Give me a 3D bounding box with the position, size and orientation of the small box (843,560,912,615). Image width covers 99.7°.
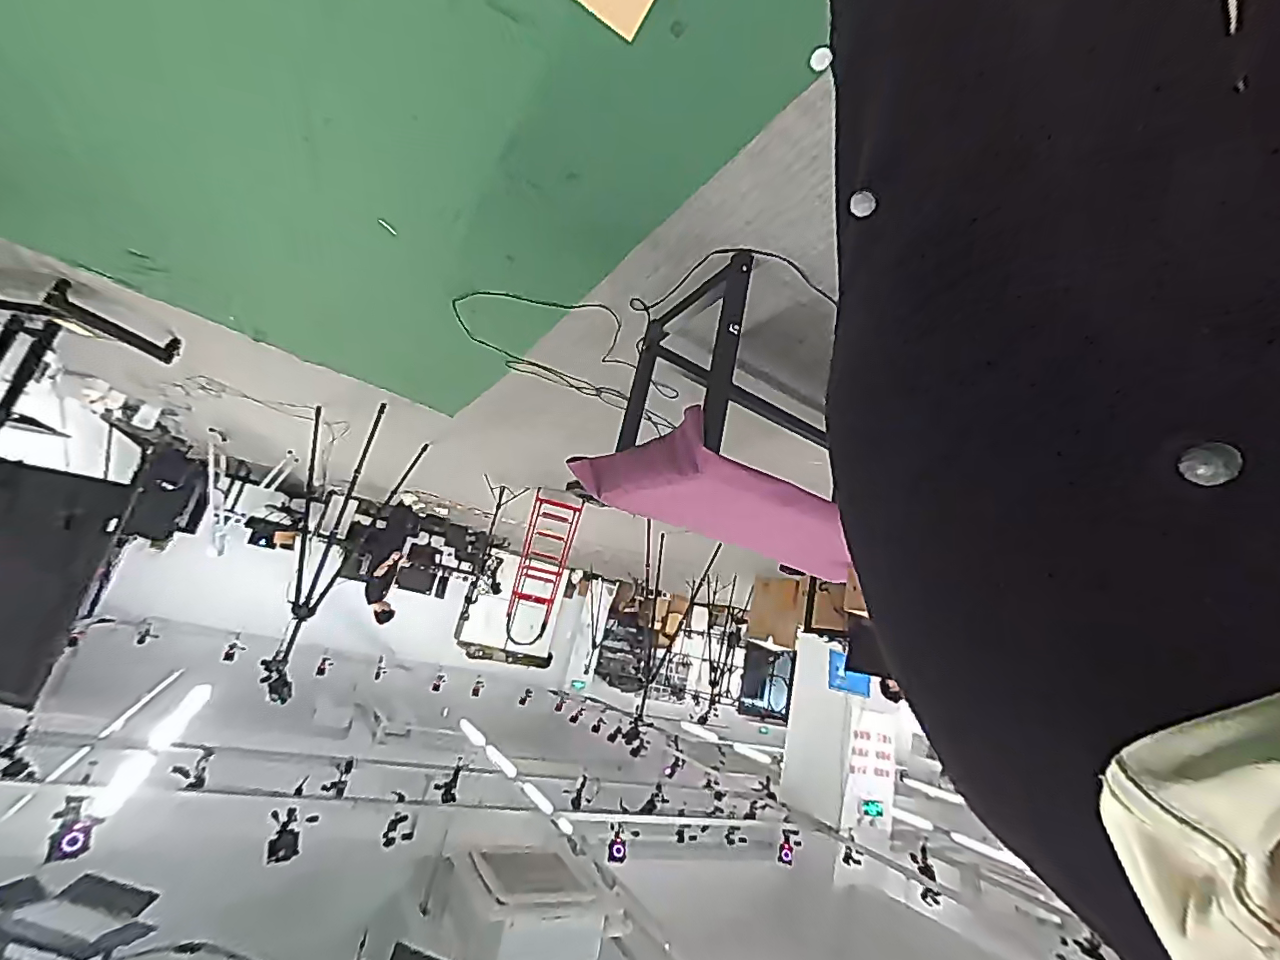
[{"bbox_3d":[0.899,0.403,2.037,0.168,0.176,0.179,19,162,-23],"label":"small box"}]
